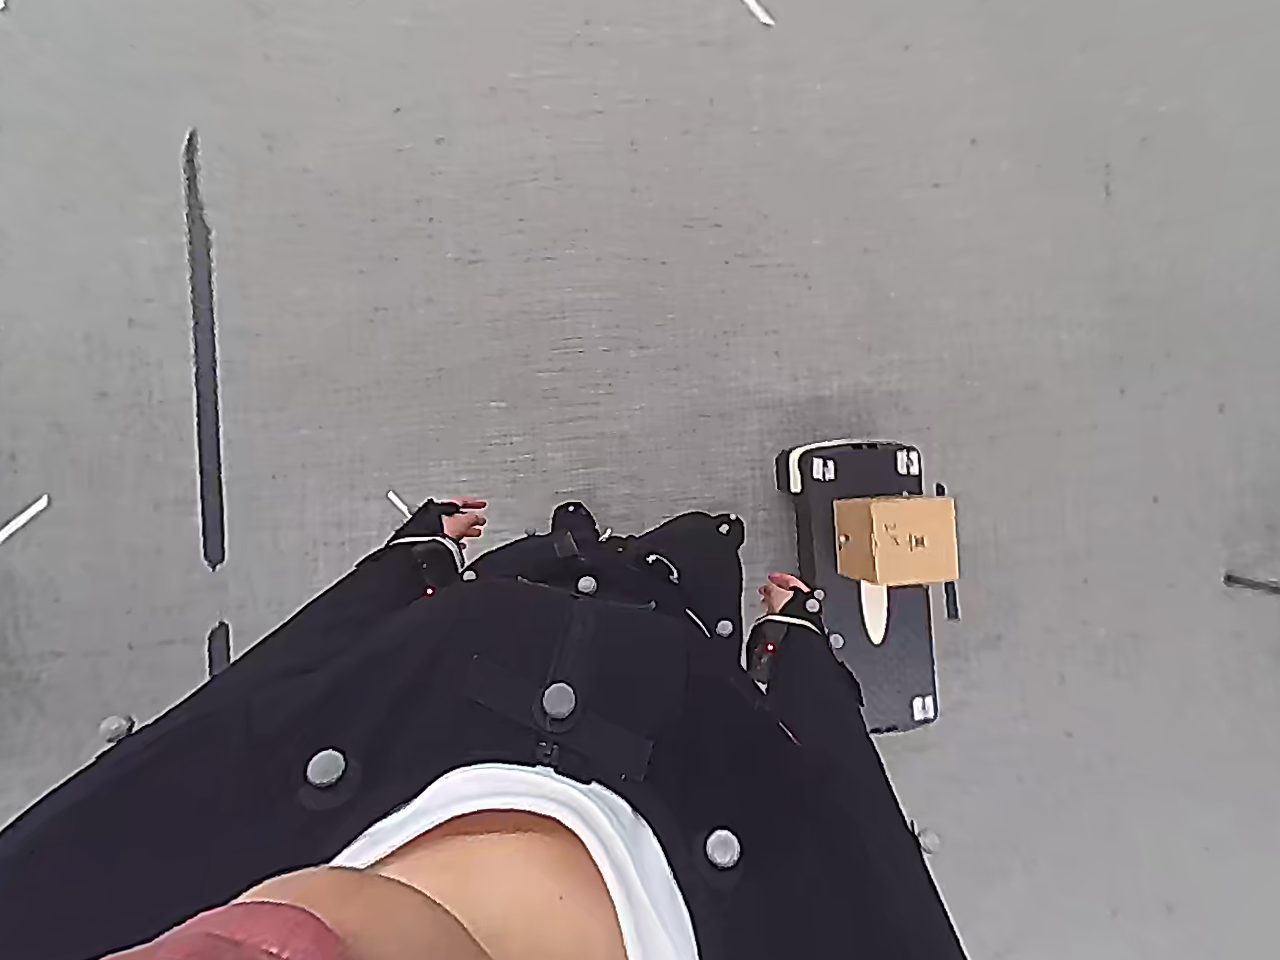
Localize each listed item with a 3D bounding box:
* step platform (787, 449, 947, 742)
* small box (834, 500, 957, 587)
[{"bbox_3d":[0.545,0.265,1.317,0.286,0.204,0.684,-3,88,-5],"label":"step platform"},{"bbox_3d":[0.533,0.127,1.144,0.179,0.176,0.168,-2,88,-5],"label":"small box"}]
